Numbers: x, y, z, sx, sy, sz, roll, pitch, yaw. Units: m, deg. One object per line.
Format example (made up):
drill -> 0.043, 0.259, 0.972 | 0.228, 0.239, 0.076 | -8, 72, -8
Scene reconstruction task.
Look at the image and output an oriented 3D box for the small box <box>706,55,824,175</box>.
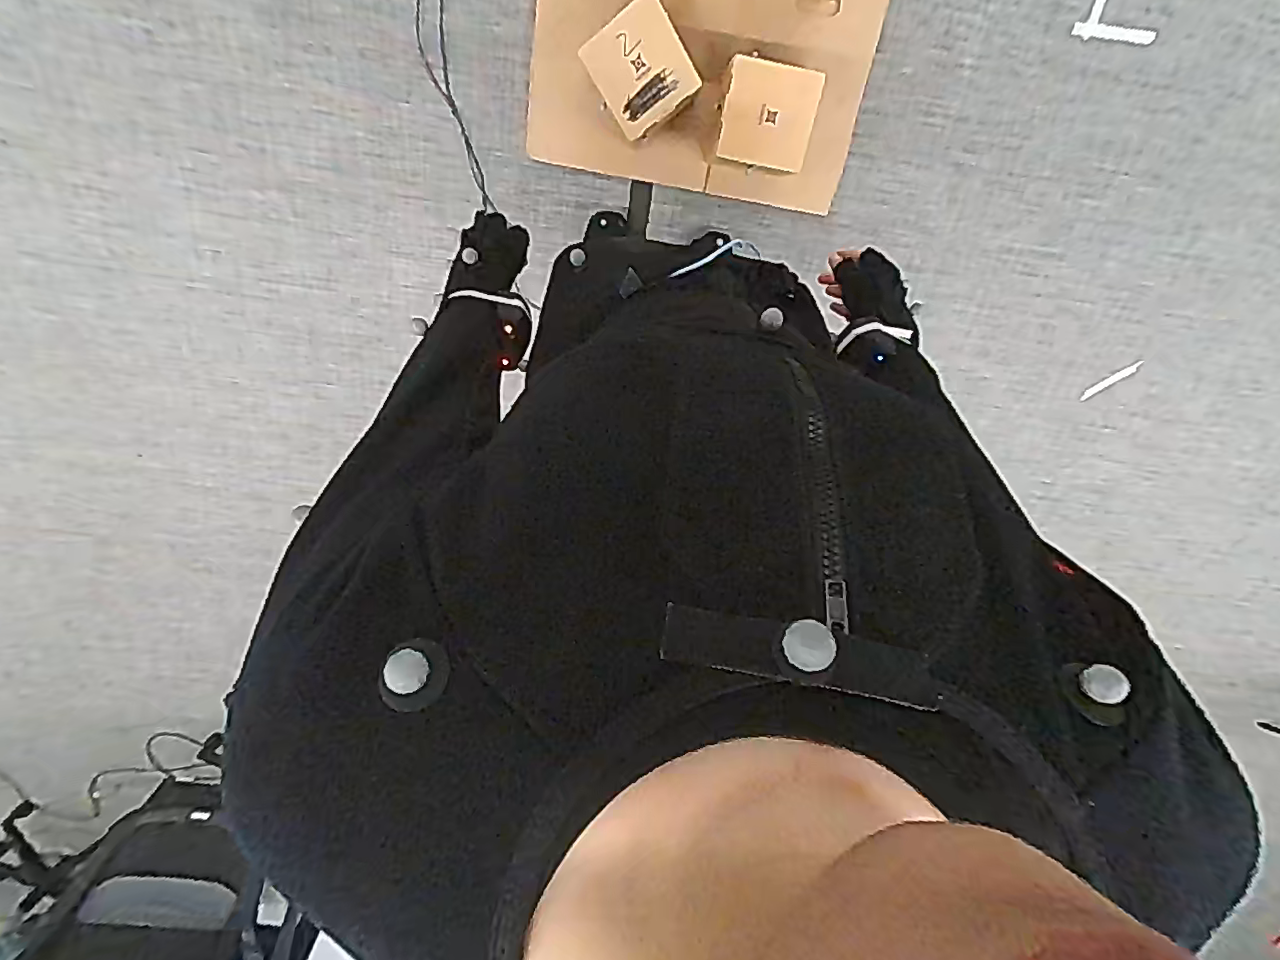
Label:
small box -> 0.243, -0.731, 1.101 | 0.179, 0.176, 0.168 | 10, 117, -4
